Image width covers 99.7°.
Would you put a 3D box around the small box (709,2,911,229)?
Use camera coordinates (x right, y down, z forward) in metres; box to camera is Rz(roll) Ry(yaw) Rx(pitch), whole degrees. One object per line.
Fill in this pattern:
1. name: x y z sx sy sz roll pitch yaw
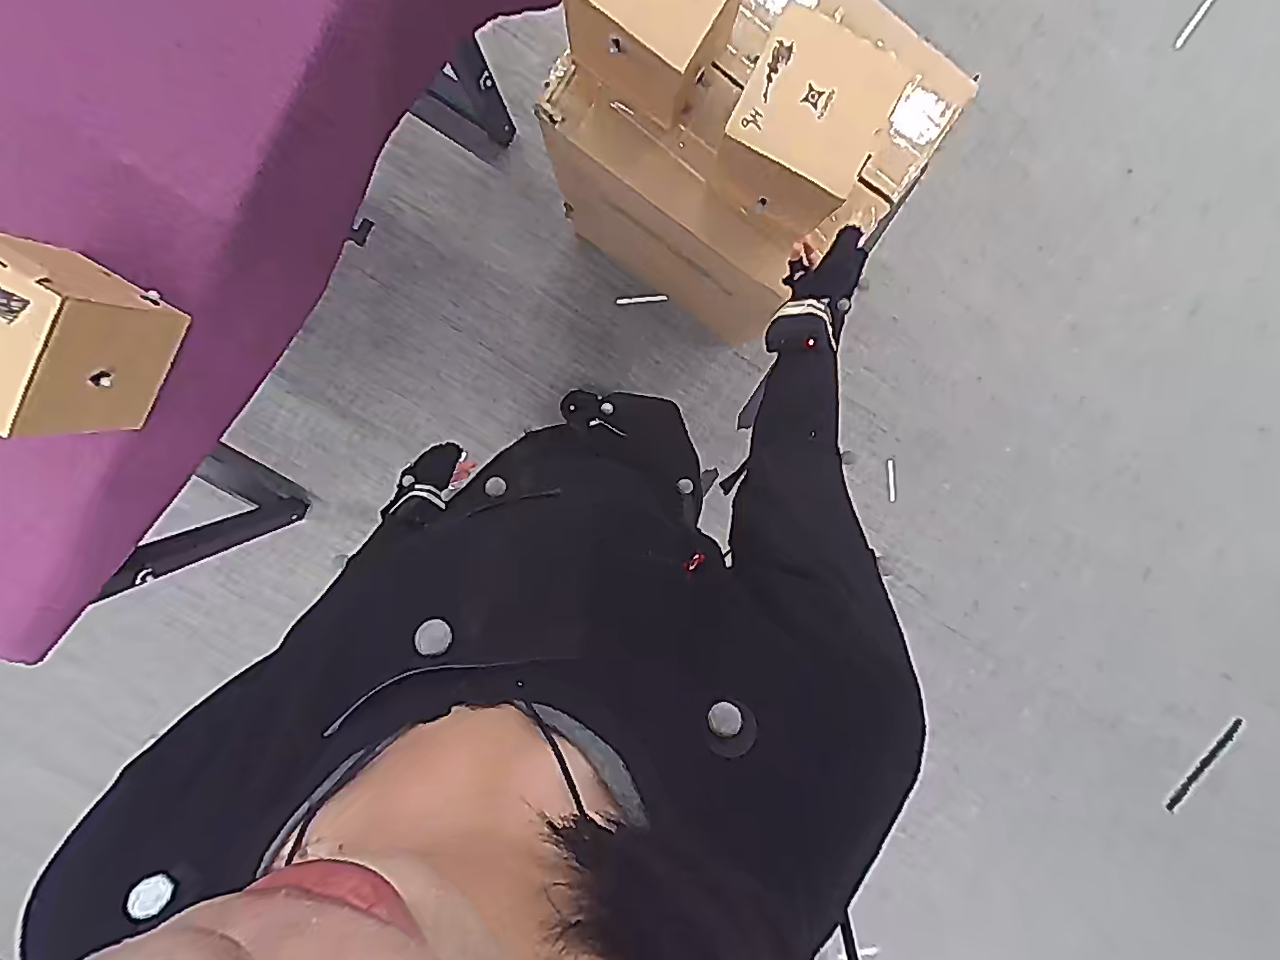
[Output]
1. small box: 0.213 -0.465 0.730 0.179 0.176 0.168 27 98 -5

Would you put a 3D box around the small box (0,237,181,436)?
1. small box: -0.708 -0.173 0.642 0.168 0.176 0.179 30 98 -5
